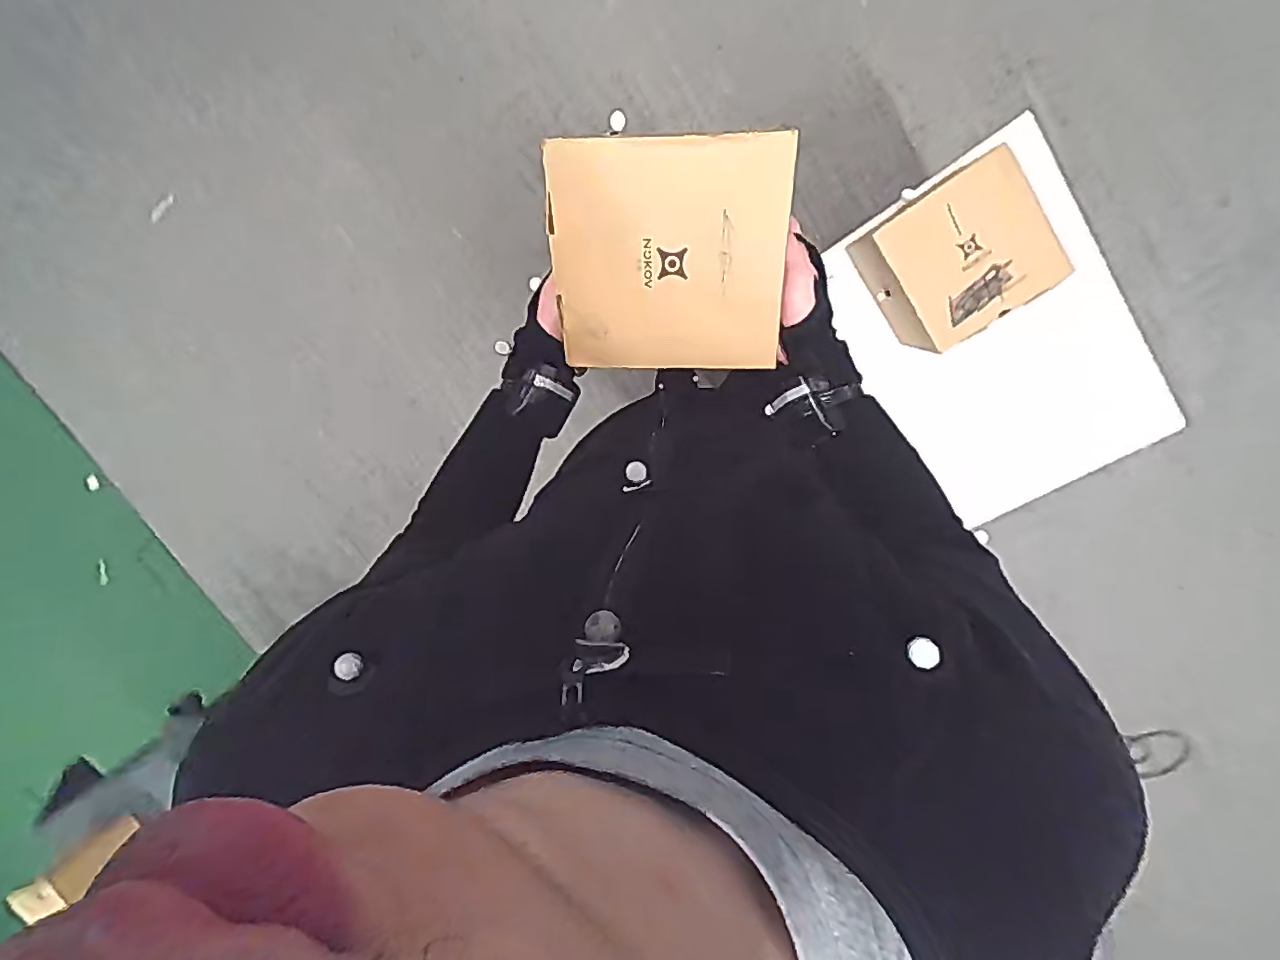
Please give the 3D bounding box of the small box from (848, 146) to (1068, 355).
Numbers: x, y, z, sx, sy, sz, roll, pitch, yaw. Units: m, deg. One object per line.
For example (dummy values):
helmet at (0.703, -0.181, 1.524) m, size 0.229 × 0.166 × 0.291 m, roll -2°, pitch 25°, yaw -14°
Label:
small box at (0.401, -0.290, 0.713) m, size 0.168 × 0.176 × 0.179 m, roll -32°, pitch 100°, yaw 17°

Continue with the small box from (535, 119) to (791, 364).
small box at (0.027, -0.209, 0.470) m, size 0.179 × 0.176 × 0.168 m, roll 0°, pitch 124°, yaw 7°
